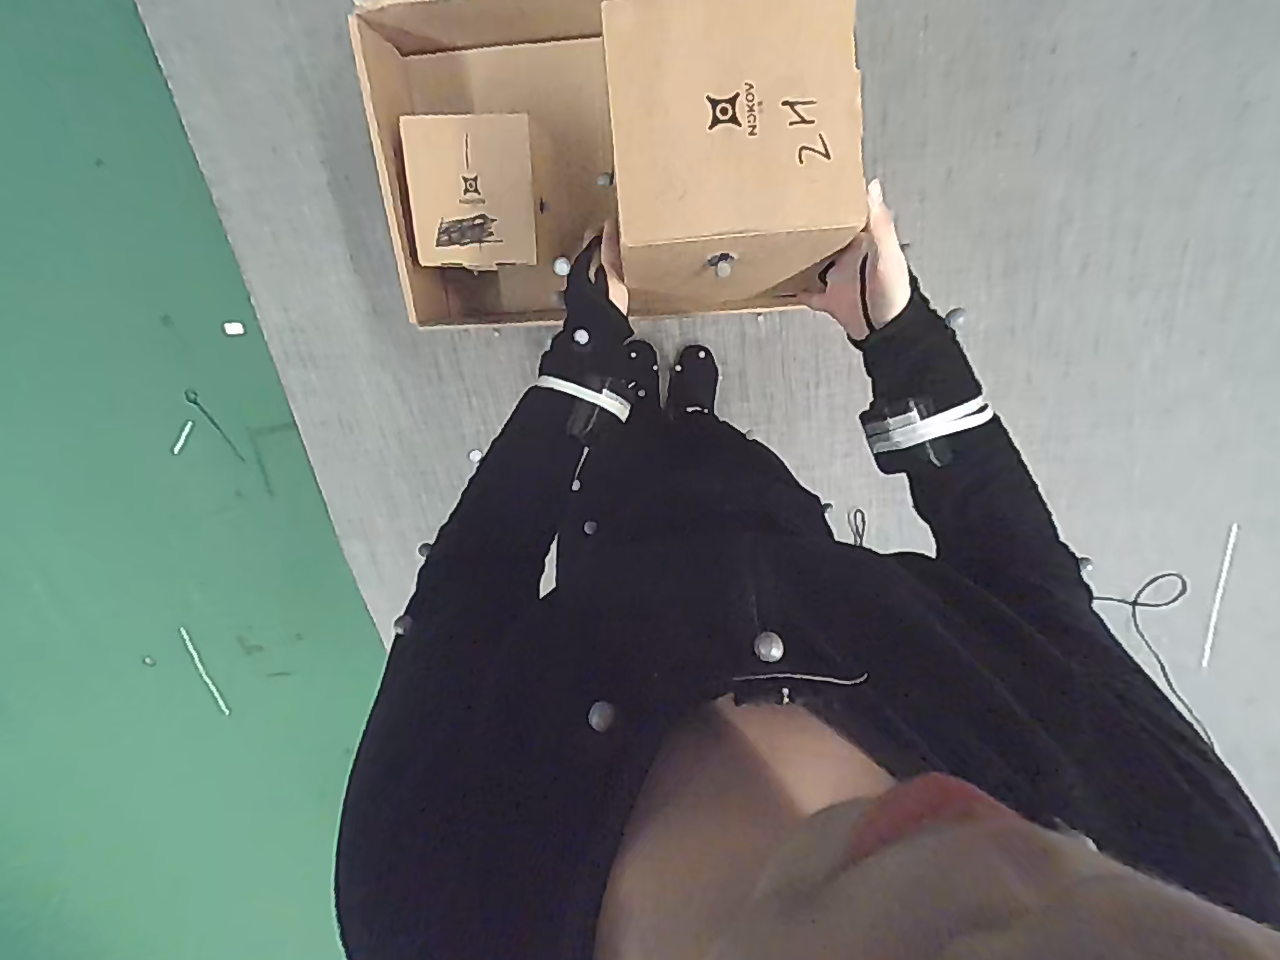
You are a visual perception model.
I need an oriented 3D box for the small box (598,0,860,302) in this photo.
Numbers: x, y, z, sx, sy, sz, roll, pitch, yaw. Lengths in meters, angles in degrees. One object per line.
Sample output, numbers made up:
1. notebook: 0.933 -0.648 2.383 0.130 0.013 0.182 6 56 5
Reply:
1. small box: 0.064 -0.257 0.455 0.179 0.176 0.168 -4 94 0
